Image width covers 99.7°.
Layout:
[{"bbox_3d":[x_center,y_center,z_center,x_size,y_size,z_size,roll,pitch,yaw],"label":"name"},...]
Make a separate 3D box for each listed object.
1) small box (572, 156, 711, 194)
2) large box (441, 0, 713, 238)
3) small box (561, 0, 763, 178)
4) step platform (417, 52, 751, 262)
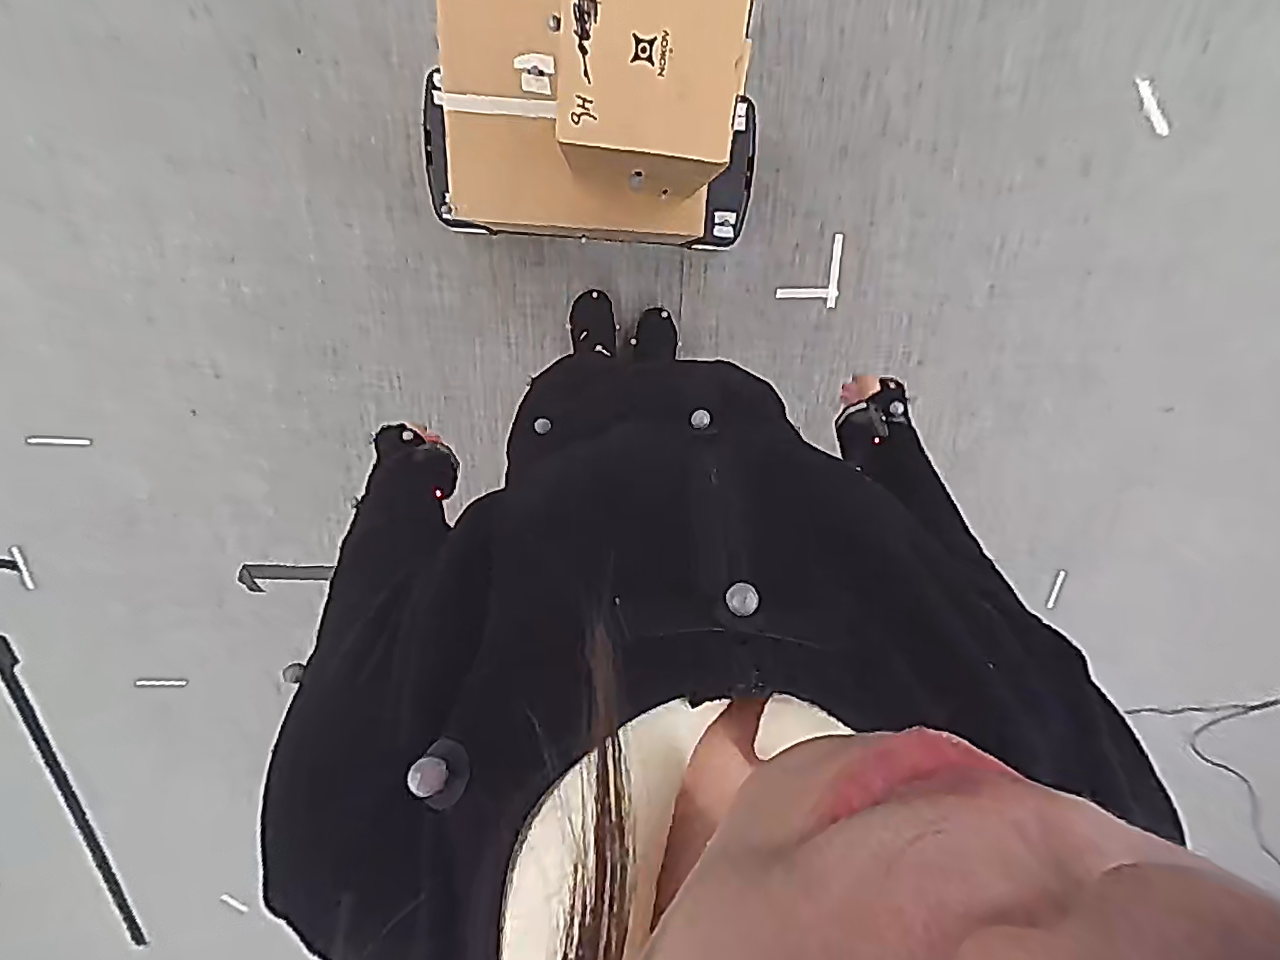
[{"bbox_3d":[0.009,-0.490,0.721,0.179,0.176,0.168,6,111,-4],"label":"small box"},{"bbox_3d":[-0.085,-0.598,0.937,0.408,0.320,0.320,3,110,-2],"label":"large box"},{"bbox_3d":[0.015,-0.429,0.569,0.179,0.176,0.168,5,110,-5],"label":"small box"},{"bbox_3d":[-0.112,-0.671,1.163,0.684,0.204,0.286,8,111,-4],"label":"step platform"}]
